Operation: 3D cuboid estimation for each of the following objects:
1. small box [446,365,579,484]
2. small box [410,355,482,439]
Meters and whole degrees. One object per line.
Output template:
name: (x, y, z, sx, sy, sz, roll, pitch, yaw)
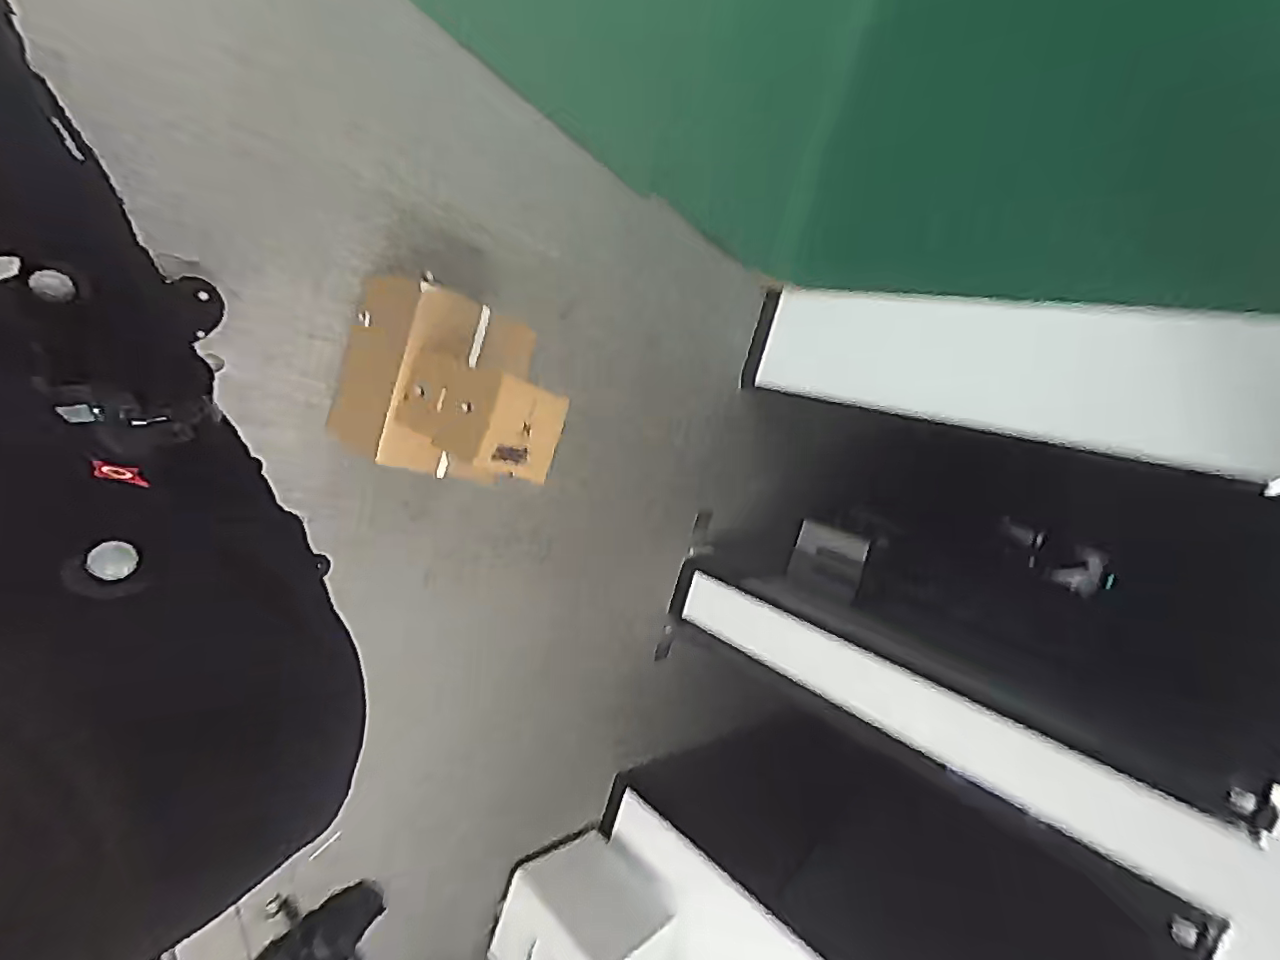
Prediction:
small box: (-0.254, -0.110, 1.062, 0.168, 0.176, 0.179, 17, 92, -49)
small box: (-0.366, -0.162, 1.171, 0.179, 0.176, 0.168, 18, 93, -49)
